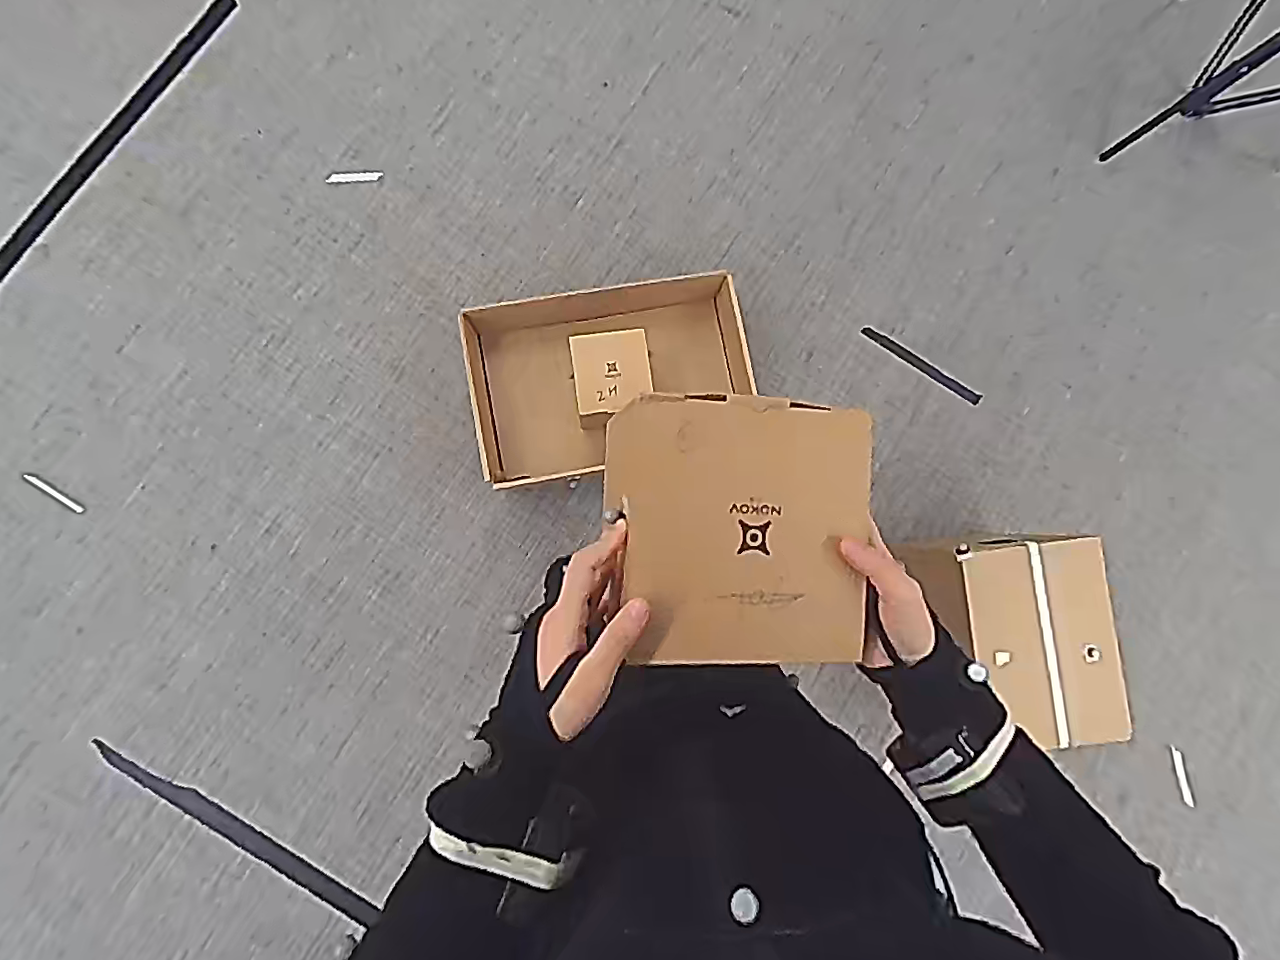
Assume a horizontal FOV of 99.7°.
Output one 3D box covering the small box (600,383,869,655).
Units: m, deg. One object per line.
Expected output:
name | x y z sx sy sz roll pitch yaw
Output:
small box | 0.060 0.029 0.438 0.168 0.176 0.179 3 90 -10

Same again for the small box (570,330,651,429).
small box | -0.066 -0.224 1.235 0.168 0.176 0.179 -7 86 -4
